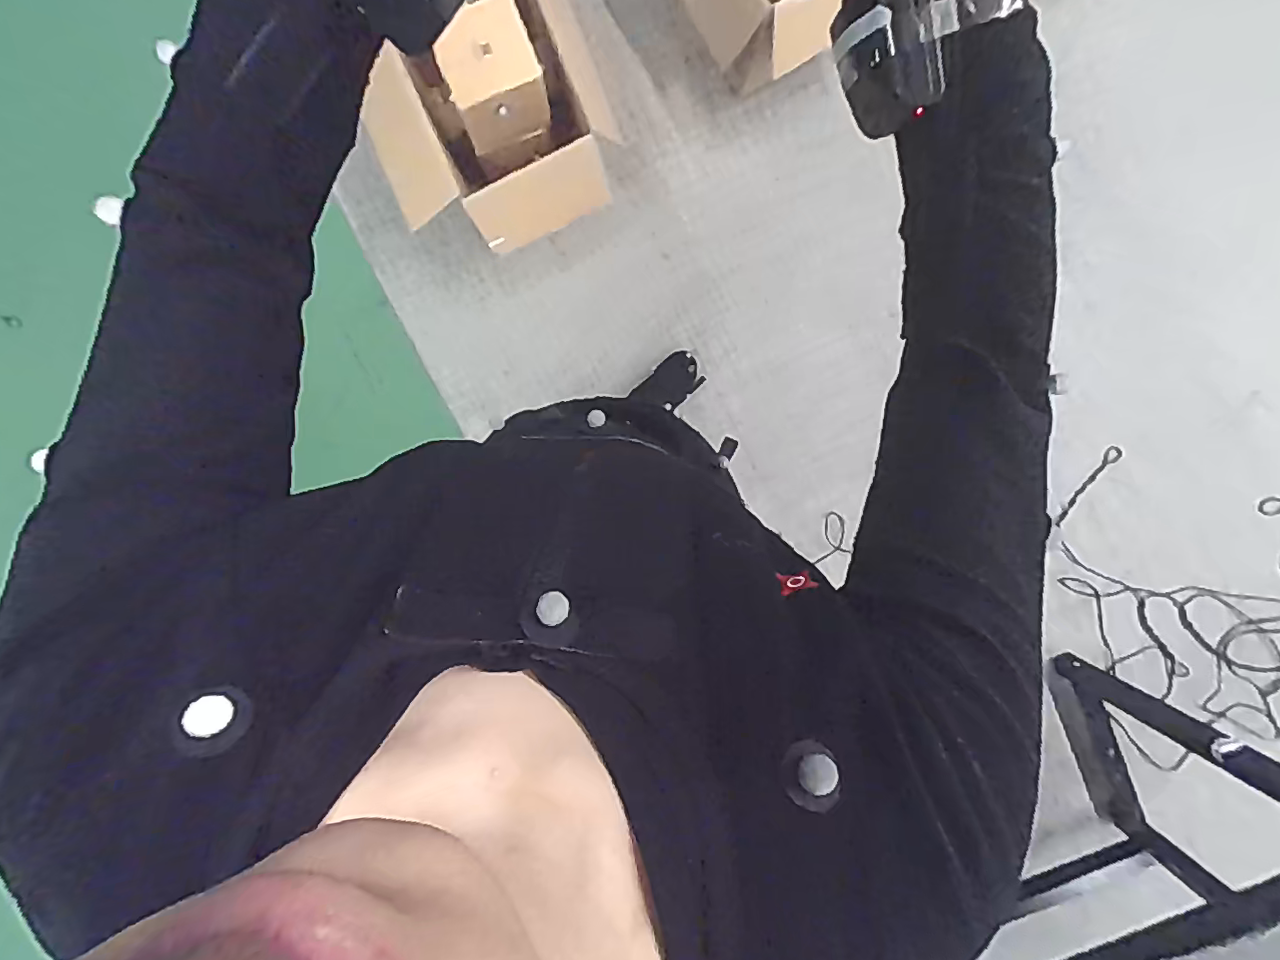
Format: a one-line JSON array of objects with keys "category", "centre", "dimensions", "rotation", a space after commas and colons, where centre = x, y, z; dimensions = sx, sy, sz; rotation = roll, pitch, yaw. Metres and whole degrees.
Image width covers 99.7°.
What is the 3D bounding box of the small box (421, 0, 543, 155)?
[{"category": "small box", "centre": [-0.310, -0.813, 1.108], "dimensions": [0.179, 0.176, 0.168], "rotation": [-23, 95, 0]}]
